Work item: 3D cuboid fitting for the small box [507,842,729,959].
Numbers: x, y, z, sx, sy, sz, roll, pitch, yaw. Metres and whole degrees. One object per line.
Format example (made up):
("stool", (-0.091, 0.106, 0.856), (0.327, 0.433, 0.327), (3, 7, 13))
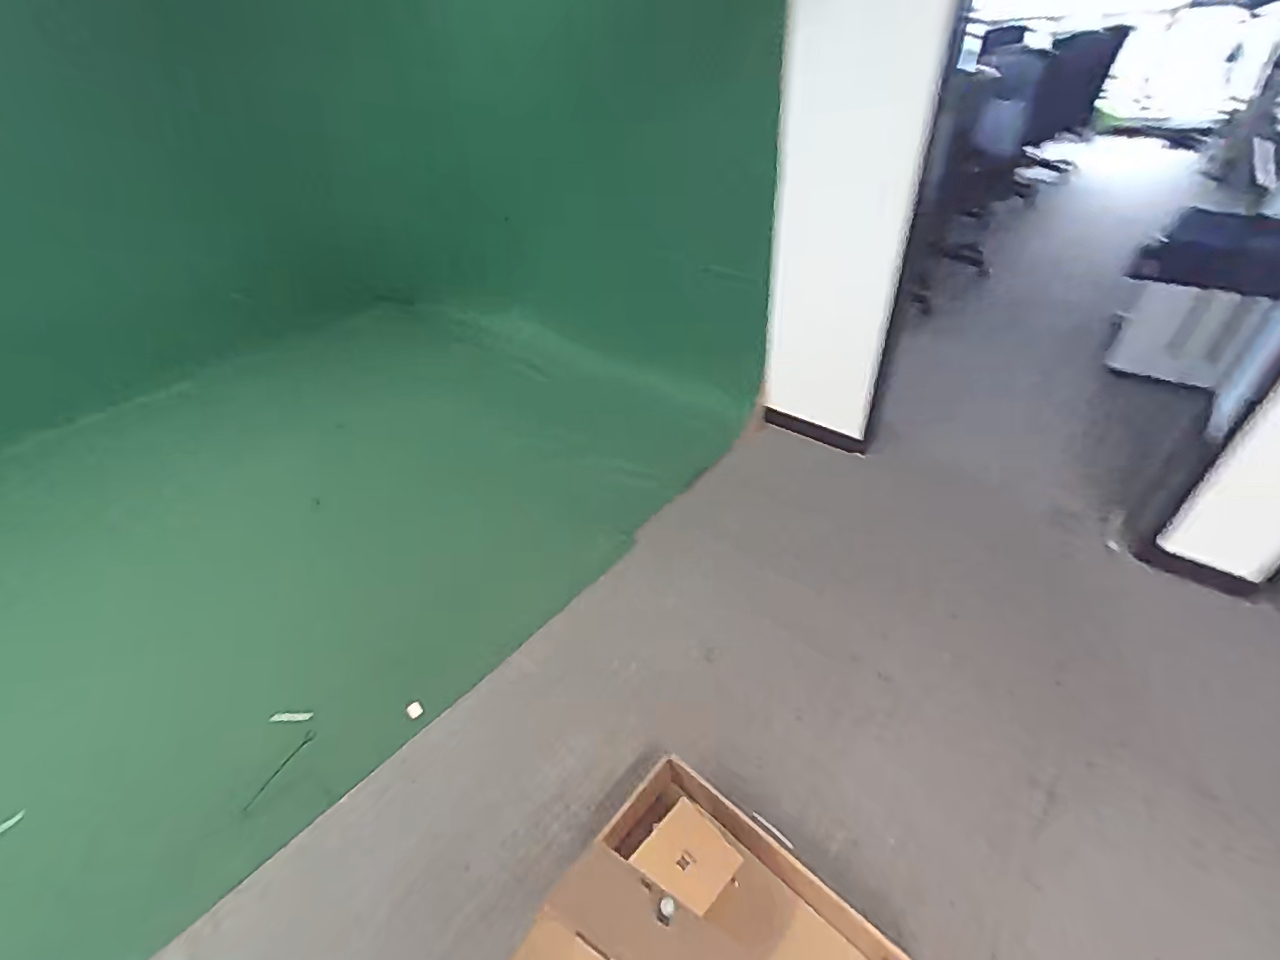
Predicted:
("small box", (-0.034, 0.439, 0.427), (0.168, 0.176, 0.179), (27, 78, 16))

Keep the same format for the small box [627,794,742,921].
("small box", (0.096, 0.814, 1.133), (0.179, 0.176, 0.168), (-34, 49, -28))
